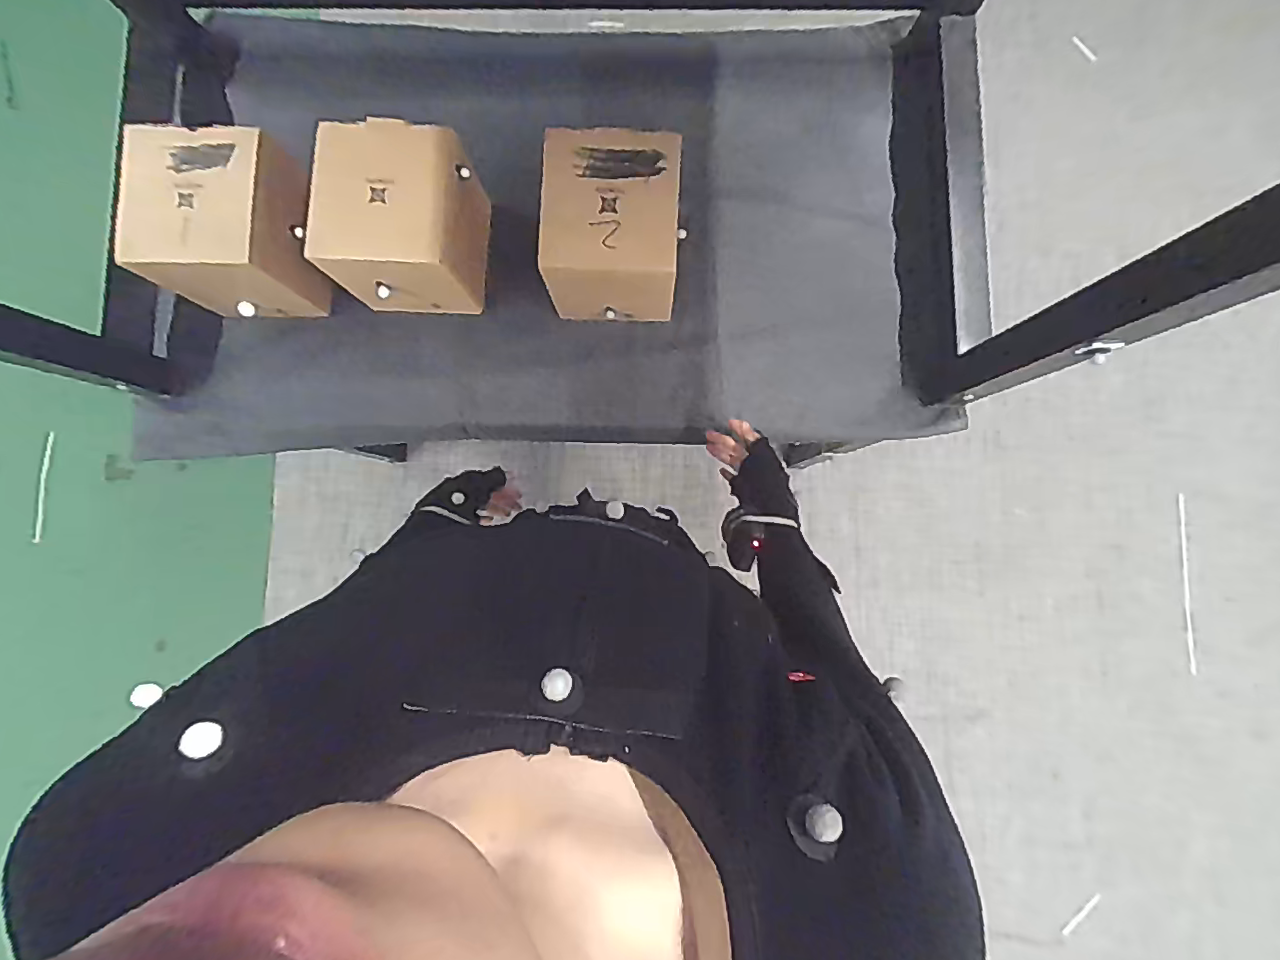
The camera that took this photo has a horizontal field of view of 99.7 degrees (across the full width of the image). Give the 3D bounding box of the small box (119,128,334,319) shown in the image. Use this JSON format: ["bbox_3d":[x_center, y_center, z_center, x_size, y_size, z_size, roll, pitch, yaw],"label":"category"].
[{"bbox_3d":[-0.539,-0.336,0.734,0.168,0.176,0.179,1,85,0],"label":"small box"}]

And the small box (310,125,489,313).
[{"bbox_3d":[-0.312,-0.340,0.735,0.168,0.176,0.179,2,84,1],"label":"small box"}]
